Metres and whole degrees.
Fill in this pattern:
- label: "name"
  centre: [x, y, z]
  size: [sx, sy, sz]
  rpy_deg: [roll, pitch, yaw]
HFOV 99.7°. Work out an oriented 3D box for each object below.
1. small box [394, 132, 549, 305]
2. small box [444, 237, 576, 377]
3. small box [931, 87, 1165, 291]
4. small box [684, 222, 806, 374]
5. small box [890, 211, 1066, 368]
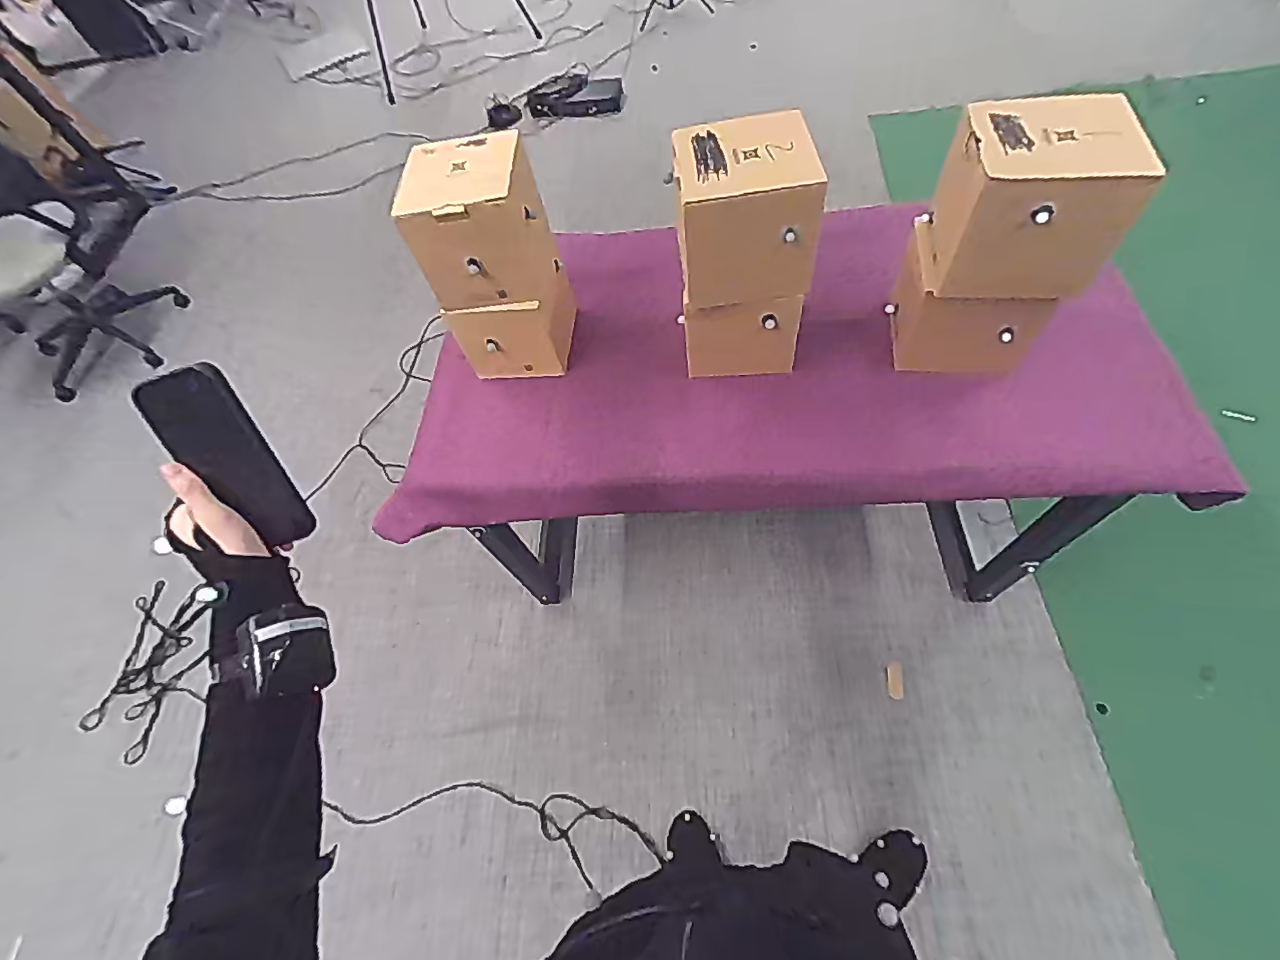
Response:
- label: "small box"
  centre: [-0.242, -0.386, 0.825]
  size: [0.168, 0.176, 0.179]
  rpy_deg: [-5, 60, 6]
- label: "small box"
  centre: [-0.218, -0.297, 0.961]
  size: [0.168, 0.176, 0.179]
  rpy_deg: [-1, 60, 9]
- label: "small box"
  centre: [0.486, -0.358, 0.684]
  size: [0.179, 0.176, 0.168]
  rpy_deg: [4, 60, 11]
- label: "small box"
  centre: [0.167, -0.291, 0.889]
  size: [0.179, 0.176, 0.168]
  rpy_deg: [-2, 59, 9]
- label: "small box"
  centre: [0.502, -0.289, 0.832]
  size: [0.179, 0.176, 0.168]
  rpy_deg: [4, 60, 12]
